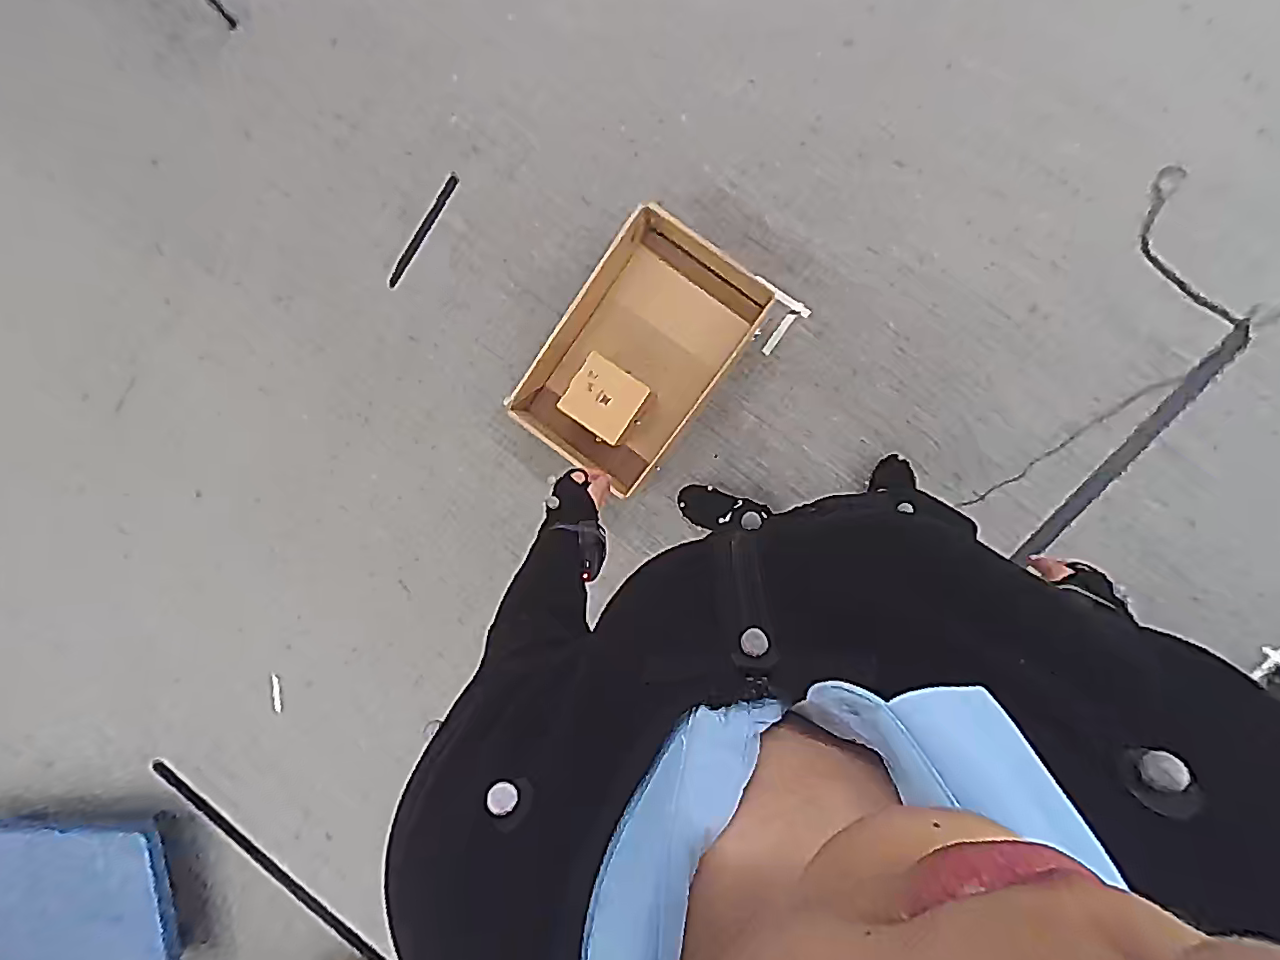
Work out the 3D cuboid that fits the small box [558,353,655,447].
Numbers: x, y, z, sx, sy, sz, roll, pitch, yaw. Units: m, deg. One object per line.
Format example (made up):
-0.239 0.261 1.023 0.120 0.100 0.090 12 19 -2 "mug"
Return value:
-0.077 -0.202 1.384 0.179 0.176 0.168 35 98 4 "small box"
